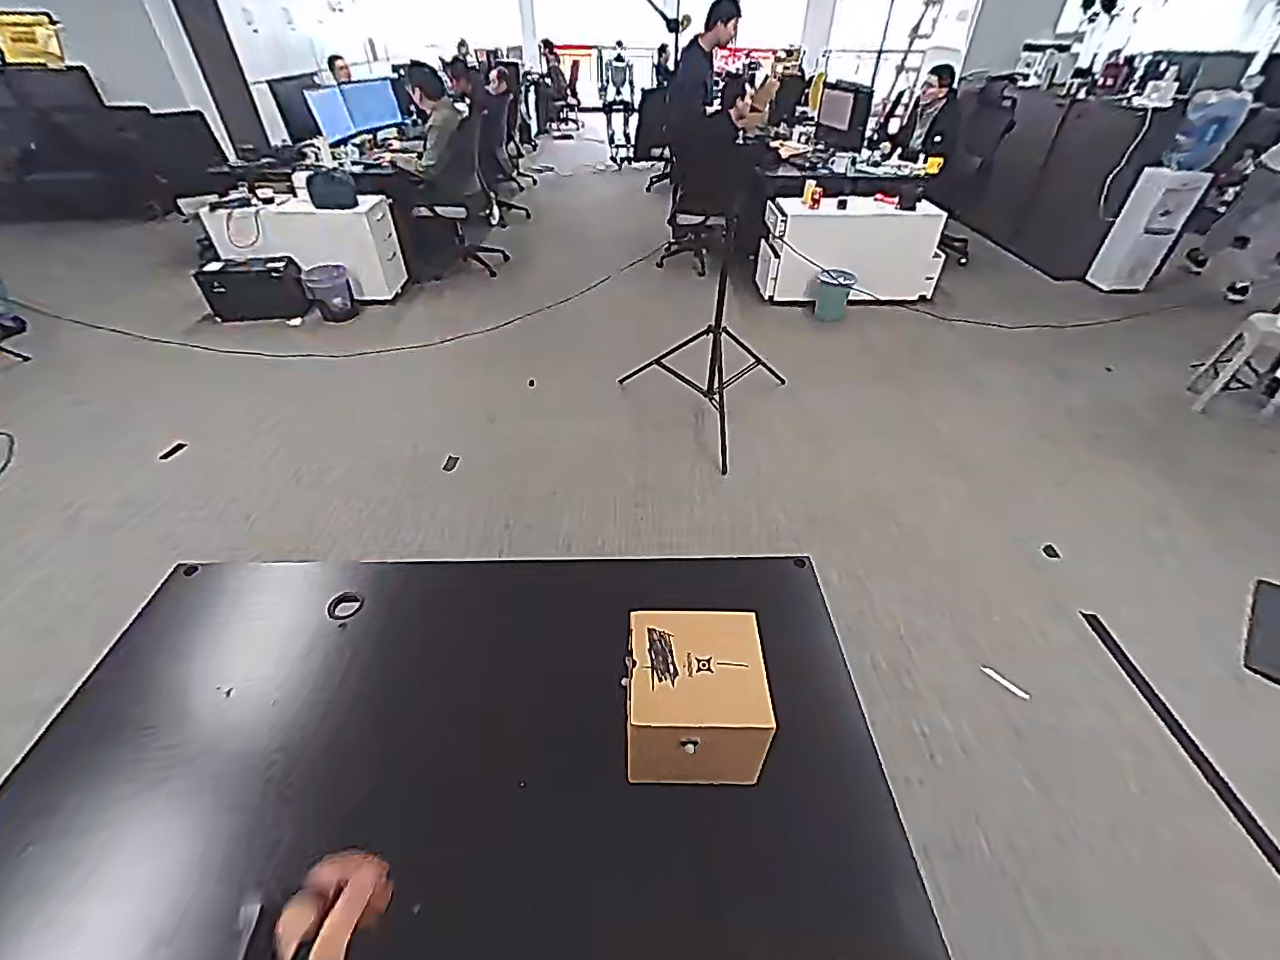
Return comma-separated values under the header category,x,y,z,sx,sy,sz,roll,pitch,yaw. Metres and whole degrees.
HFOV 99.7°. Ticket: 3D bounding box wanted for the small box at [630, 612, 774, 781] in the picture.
category,x,y,z,sx,sy,sz,roll,pitch,yaw
small box,0.077,0.304,0.760,0.179,0.176,0.168,1,40,0
